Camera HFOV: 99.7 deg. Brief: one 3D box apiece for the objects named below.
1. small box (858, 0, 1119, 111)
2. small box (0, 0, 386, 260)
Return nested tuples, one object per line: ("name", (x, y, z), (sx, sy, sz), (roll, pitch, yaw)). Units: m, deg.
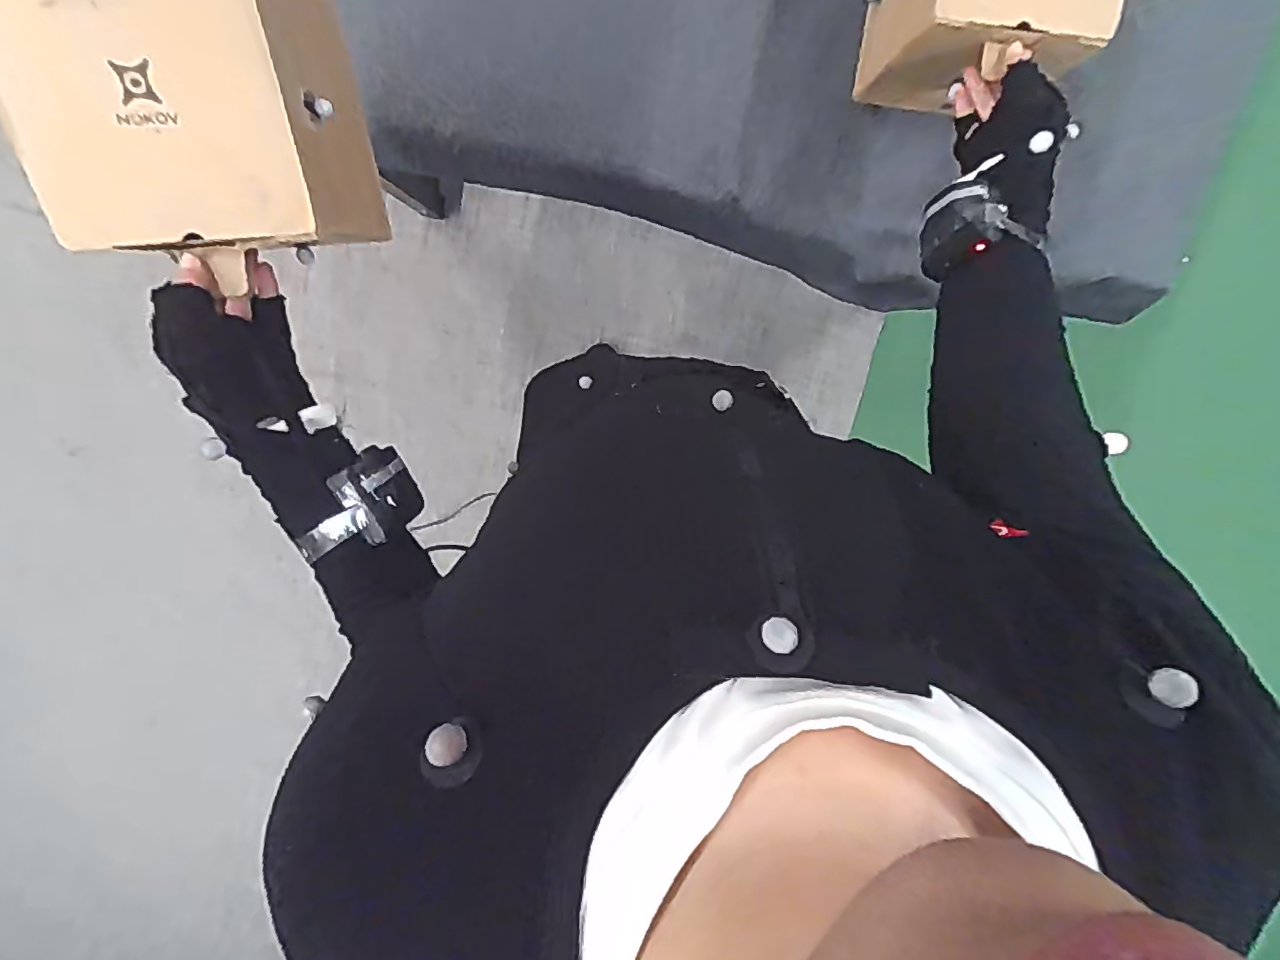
("small box", (0.335, -0.493, 0.526), (0.168, 0.176, 0.179), (5, 105, -5))
("small box", (-0.310, -0.264, 0.399), (0.168, 0.176, 0.179), (-7, 113, -5))
